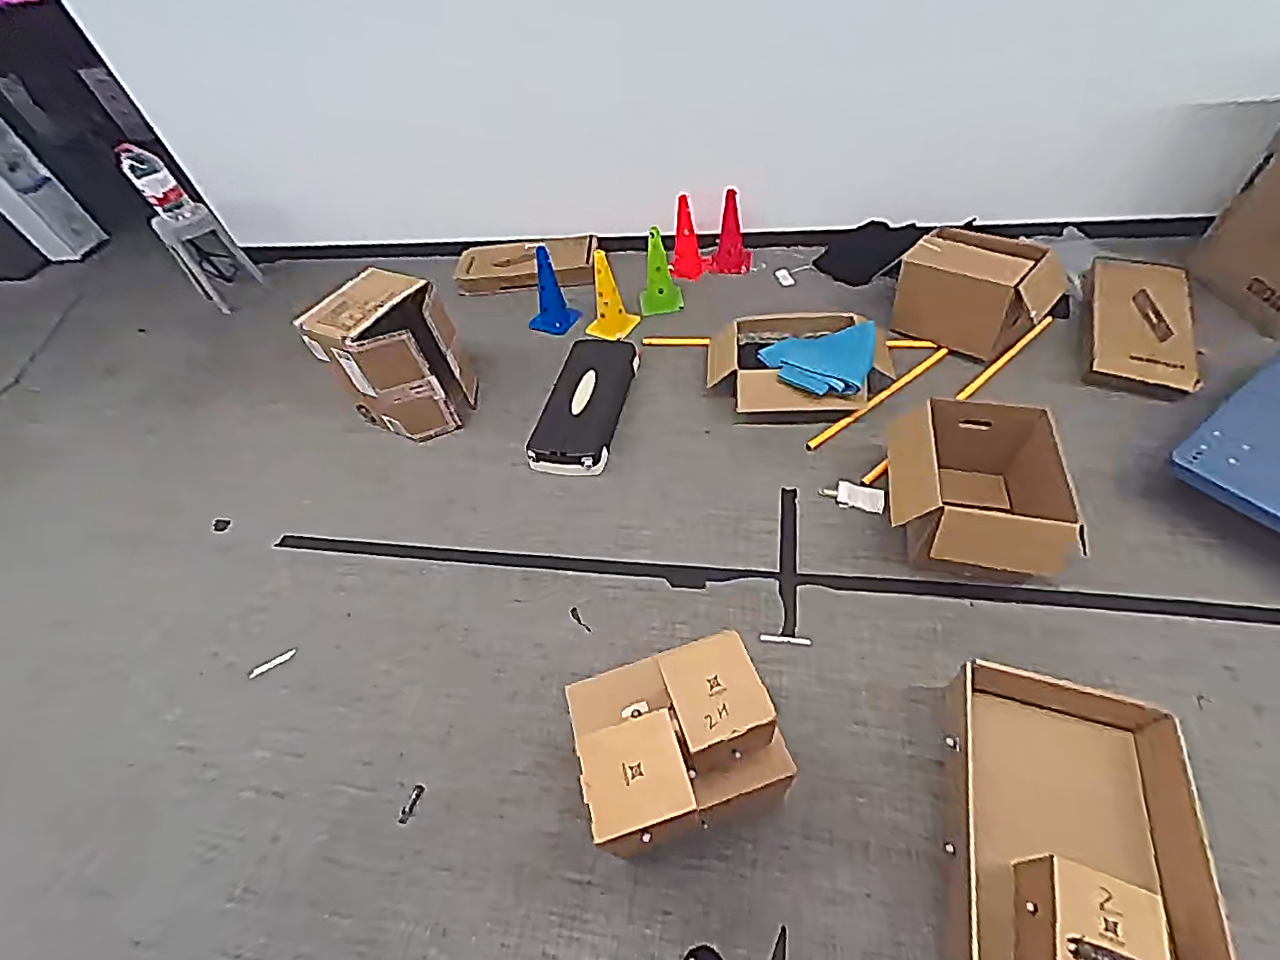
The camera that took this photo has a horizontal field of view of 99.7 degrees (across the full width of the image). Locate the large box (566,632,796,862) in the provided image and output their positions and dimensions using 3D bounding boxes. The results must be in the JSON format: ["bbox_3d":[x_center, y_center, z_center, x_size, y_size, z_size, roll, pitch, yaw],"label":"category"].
[{"bbox_3d":[0.089,0.605,1.221,0.408,0.320,0.320,-19,50,-6],"label":"large box"}]

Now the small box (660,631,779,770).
[{"bbox_3d":[0.147,0.425,1.039,0.168,0.176,0.179,-19,52,-6],"label":"small box"}]
